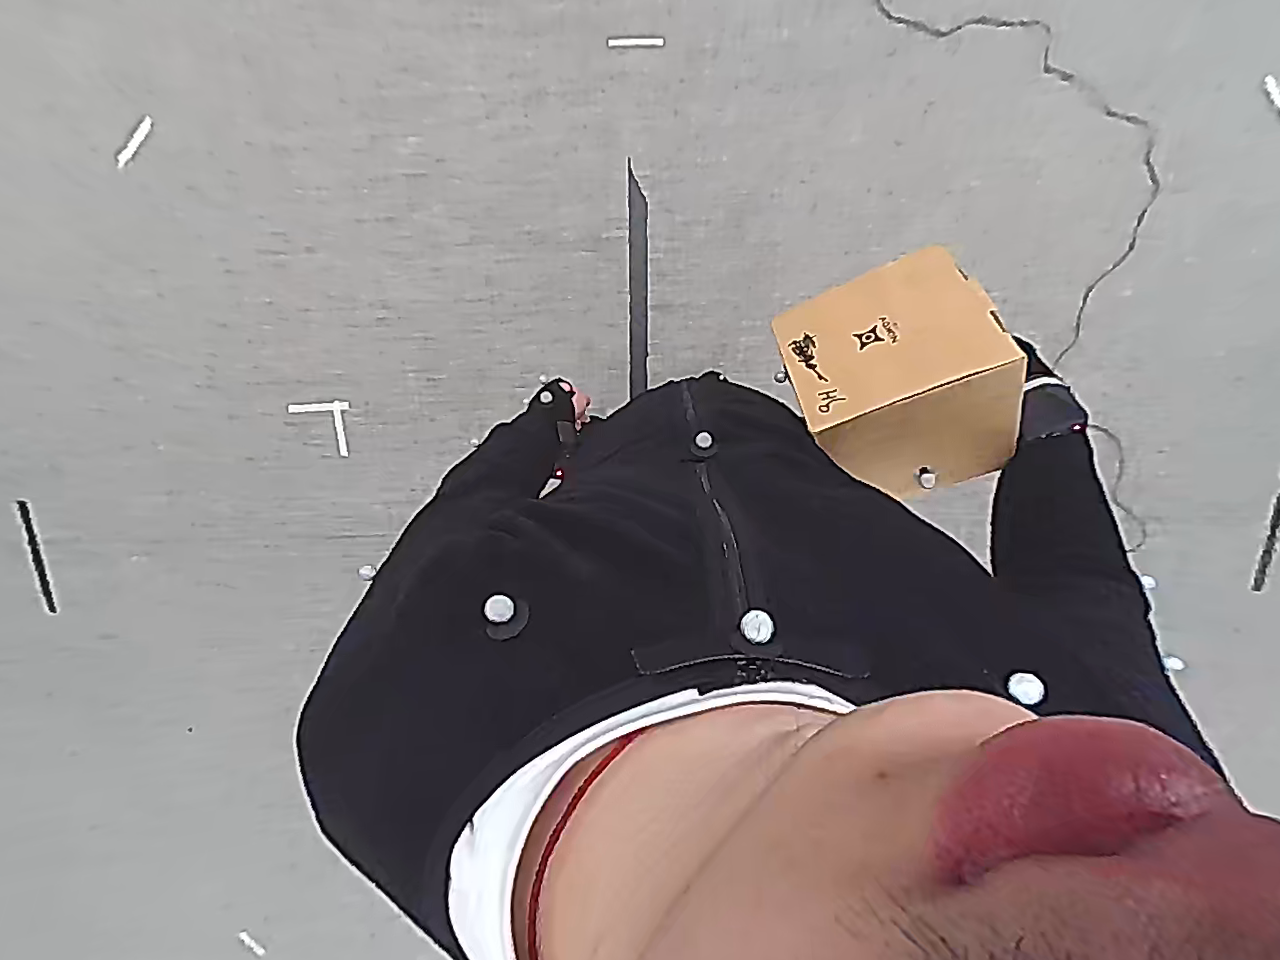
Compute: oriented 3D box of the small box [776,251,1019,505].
[{"bbox_3d":[0.267,-0.099,0.581,0.179,0.168,0.176,-20,141,18],"label":"small box"}]
